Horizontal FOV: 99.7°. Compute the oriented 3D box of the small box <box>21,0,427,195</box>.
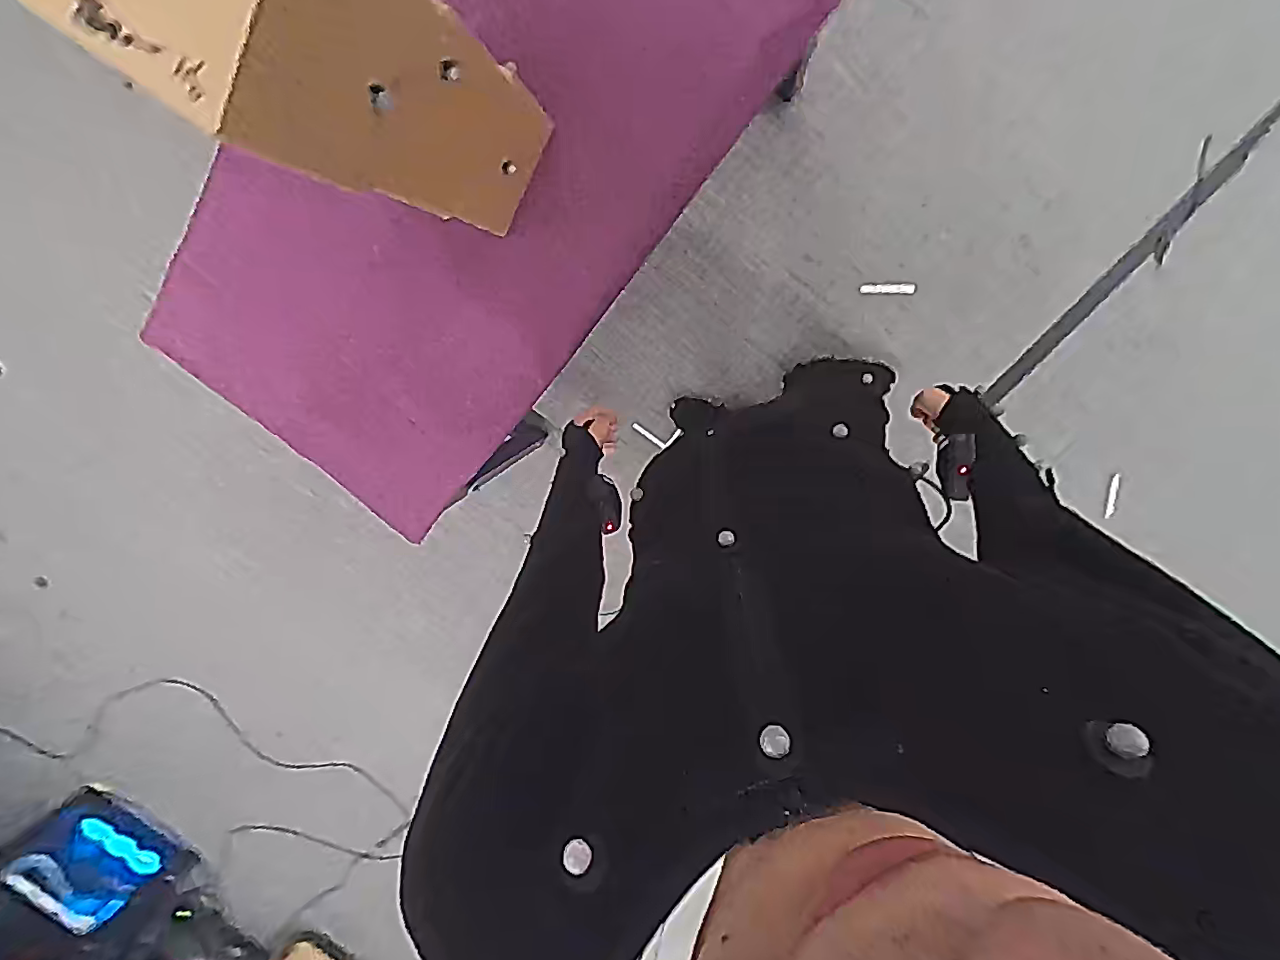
[{"bbox_3d":[-0.299,-0.366,0.424,0.168,0.176,0.179,35,106,-2],"label":"small box"}]

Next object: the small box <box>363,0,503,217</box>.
[{"bbox_3d":[-0.274,-0.416,0.579,0.168,0.176,0.179,35,106,-2],"label":"small box"}]
